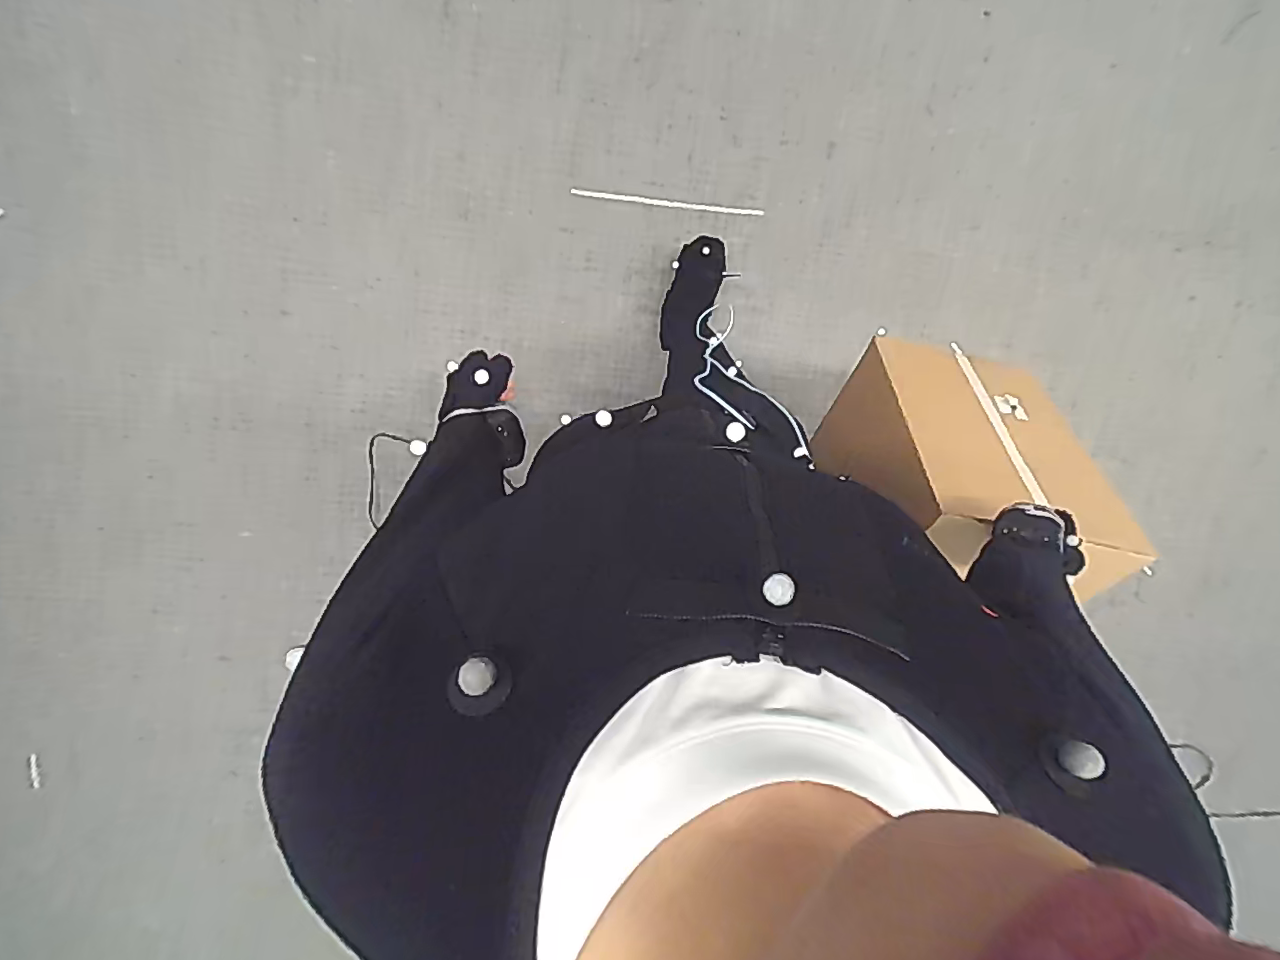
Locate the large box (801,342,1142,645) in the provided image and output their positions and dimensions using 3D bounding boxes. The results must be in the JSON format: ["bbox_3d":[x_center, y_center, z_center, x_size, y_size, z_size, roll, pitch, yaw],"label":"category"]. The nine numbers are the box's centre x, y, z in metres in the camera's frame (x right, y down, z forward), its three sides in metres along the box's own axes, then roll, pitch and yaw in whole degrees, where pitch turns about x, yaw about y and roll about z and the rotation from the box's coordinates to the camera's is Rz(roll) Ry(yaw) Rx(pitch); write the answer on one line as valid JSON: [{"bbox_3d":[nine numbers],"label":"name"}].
[{"bbox_3d":[0.509,0.024,0.948,0.320,0.408,0.320,12,136,-6],"label":"large box"}]
